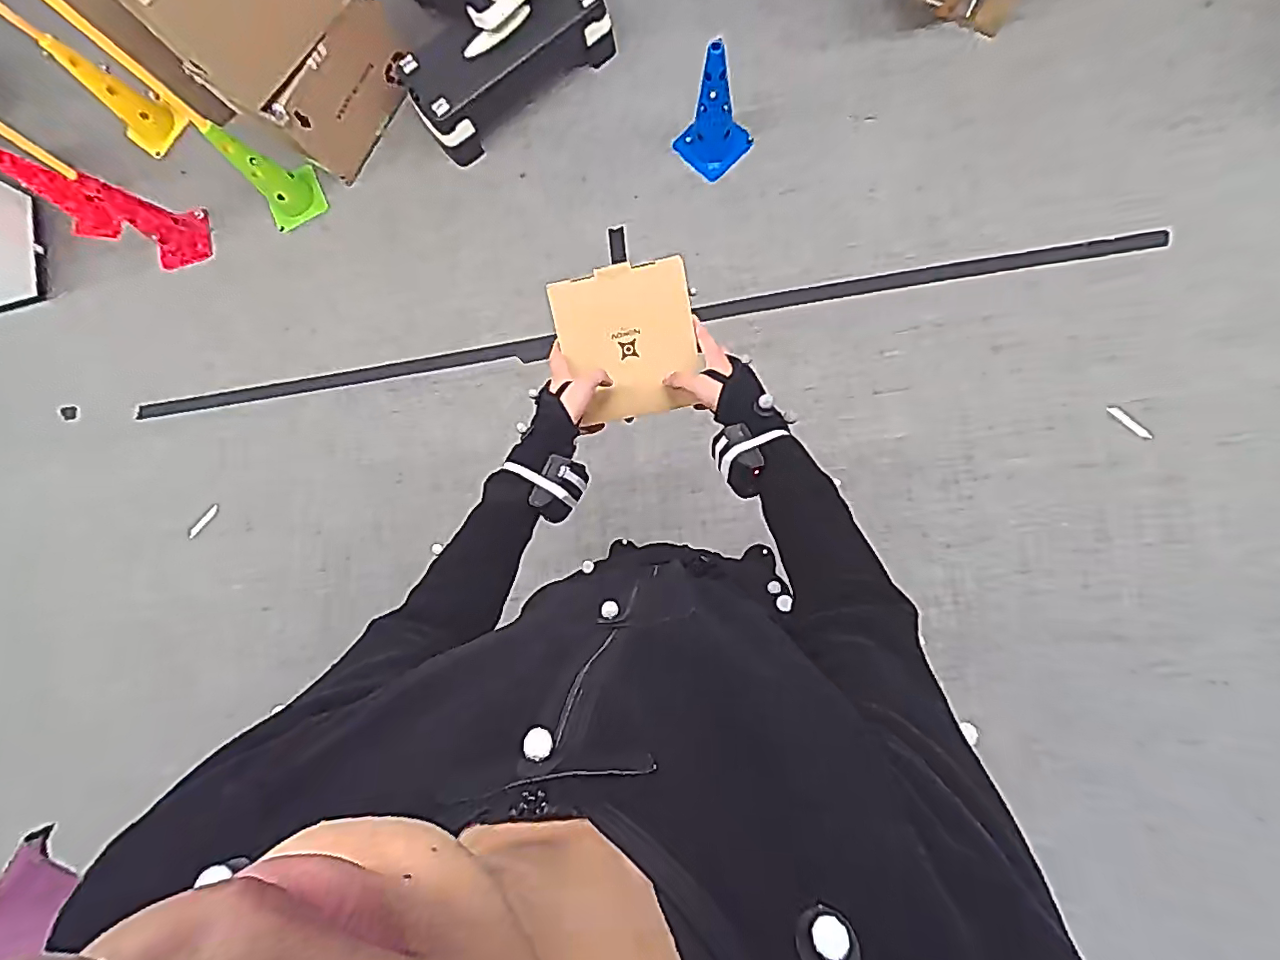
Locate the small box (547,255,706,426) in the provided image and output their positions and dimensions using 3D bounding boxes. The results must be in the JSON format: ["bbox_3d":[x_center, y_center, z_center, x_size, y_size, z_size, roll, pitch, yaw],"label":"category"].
[{"bbox_3d":[-0.009,-0.183,0.723,0.168,0.176,0.179,-11,103,5],"label":"small box"}]
